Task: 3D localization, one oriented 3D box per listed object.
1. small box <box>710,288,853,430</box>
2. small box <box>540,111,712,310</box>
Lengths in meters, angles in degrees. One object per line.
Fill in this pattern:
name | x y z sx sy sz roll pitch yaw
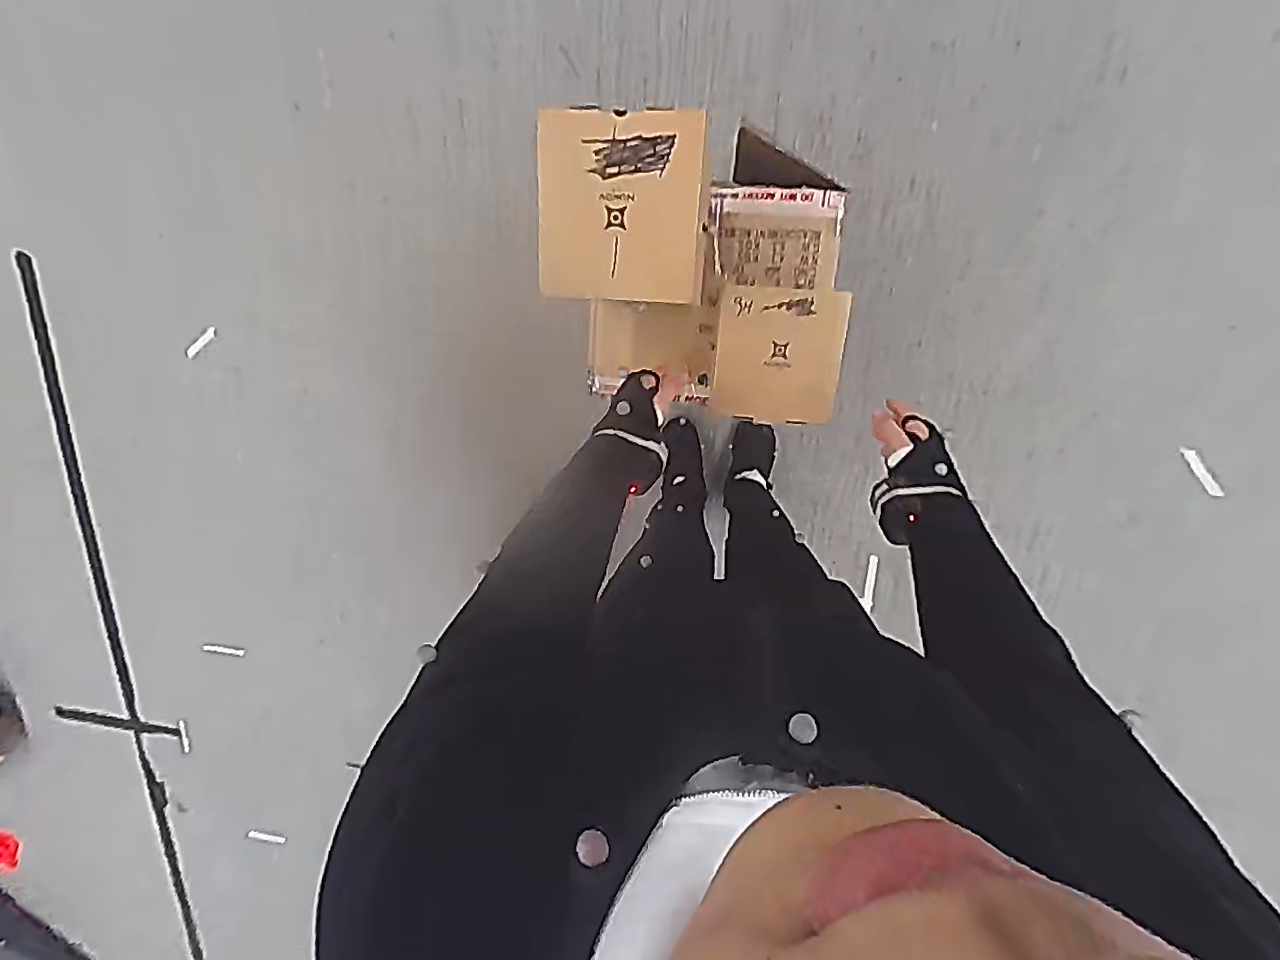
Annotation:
small box | 0.193 -0.183 0.789 0.168 0.176 0.179 5 108 5
small box | -0.008 -0.290 0.612 0.168 0.176 0.179 6 109 8
